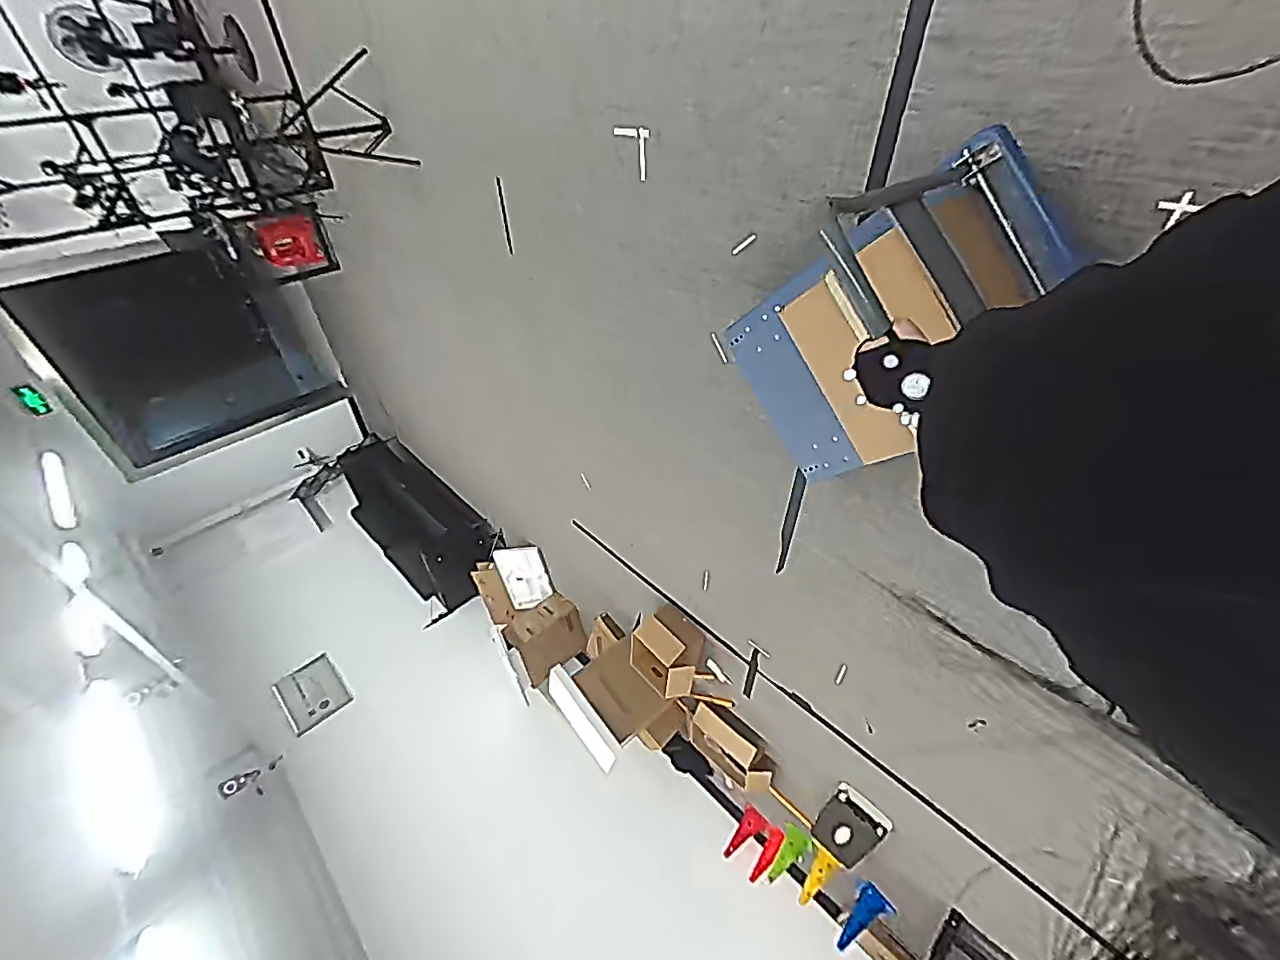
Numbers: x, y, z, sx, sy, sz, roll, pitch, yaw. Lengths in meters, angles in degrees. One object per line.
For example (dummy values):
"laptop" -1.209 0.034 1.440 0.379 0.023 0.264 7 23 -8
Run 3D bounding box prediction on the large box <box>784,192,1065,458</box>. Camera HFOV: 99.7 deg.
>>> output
"large box" 0.599 -0.317 1.154 0.408 0.320 0.320 59 149 -2
